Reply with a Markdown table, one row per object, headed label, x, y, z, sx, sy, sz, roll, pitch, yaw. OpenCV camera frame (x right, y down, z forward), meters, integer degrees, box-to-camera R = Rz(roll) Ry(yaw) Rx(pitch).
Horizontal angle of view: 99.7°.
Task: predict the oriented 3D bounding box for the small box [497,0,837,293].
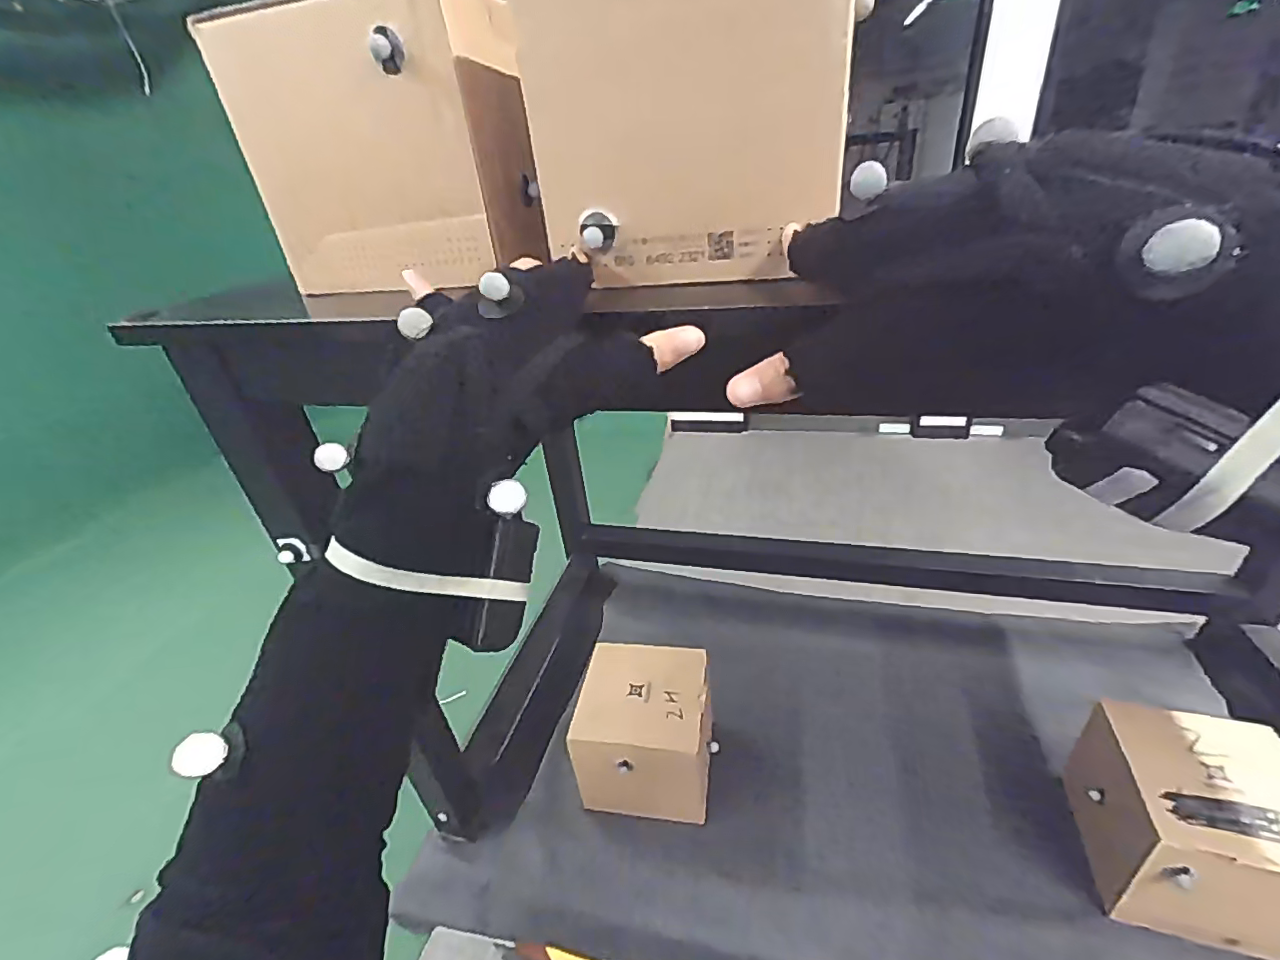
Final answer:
| label | x | y | z | sx | sy | sz | roll | pitch | yaw |
| --- | --- | --- | --- | --- | --- | --- | --- | --- | --- |
| small box | 0.037 | -0.222 | 0.348 | 0.168 | 0.176 | 0.179 | 3 | 31 | 16 |

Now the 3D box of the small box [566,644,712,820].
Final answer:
| label | x | y | z | sx | sy | sz | roll | pitch | yaw |
| --- | --- | --- | --- | --- | --- | --- | --- | --- | --- |
| small box | 0.009 | 0.368 | 0.796 | 0.179 | 0.176 | 0.168 | 1 | 32 | 12 |
